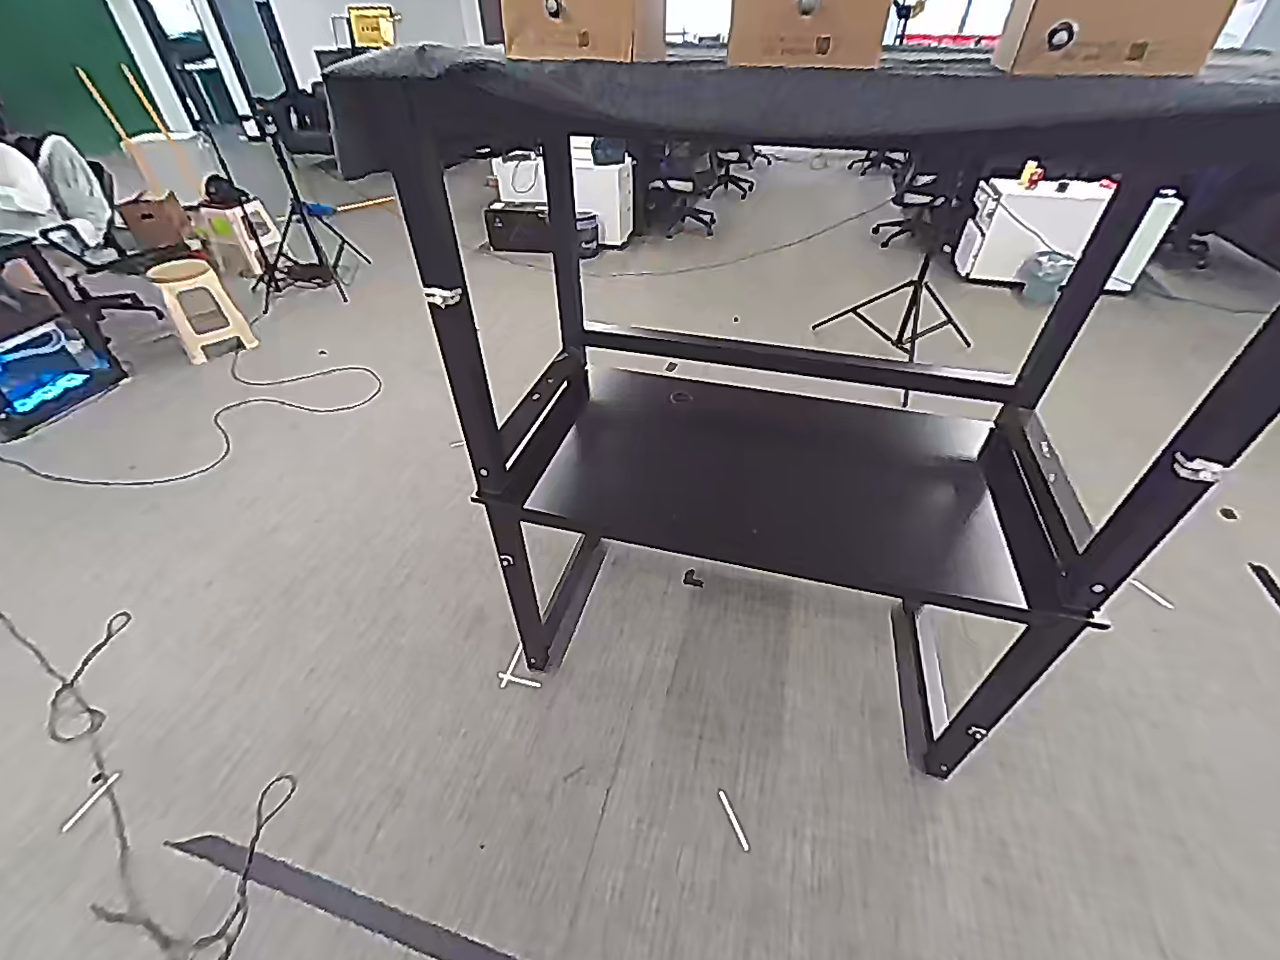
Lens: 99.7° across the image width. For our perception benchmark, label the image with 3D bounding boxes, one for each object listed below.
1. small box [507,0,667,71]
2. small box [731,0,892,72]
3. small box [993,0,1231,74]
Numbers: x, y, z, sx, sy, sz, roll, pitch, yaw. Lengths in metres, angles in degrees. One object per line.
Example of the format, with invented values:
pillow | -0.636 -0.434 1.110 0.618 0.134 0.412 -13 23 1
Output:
small box | -0.061 -0.617 0.665 0.168 0.176 0.179 10 41 10
small box | 0.202 -0.573 0.610 0.168 0.176 0.179 11 40 13
small box | 0.492 -0.523 0.553 0.168 0.176 0.179 13 41 15
